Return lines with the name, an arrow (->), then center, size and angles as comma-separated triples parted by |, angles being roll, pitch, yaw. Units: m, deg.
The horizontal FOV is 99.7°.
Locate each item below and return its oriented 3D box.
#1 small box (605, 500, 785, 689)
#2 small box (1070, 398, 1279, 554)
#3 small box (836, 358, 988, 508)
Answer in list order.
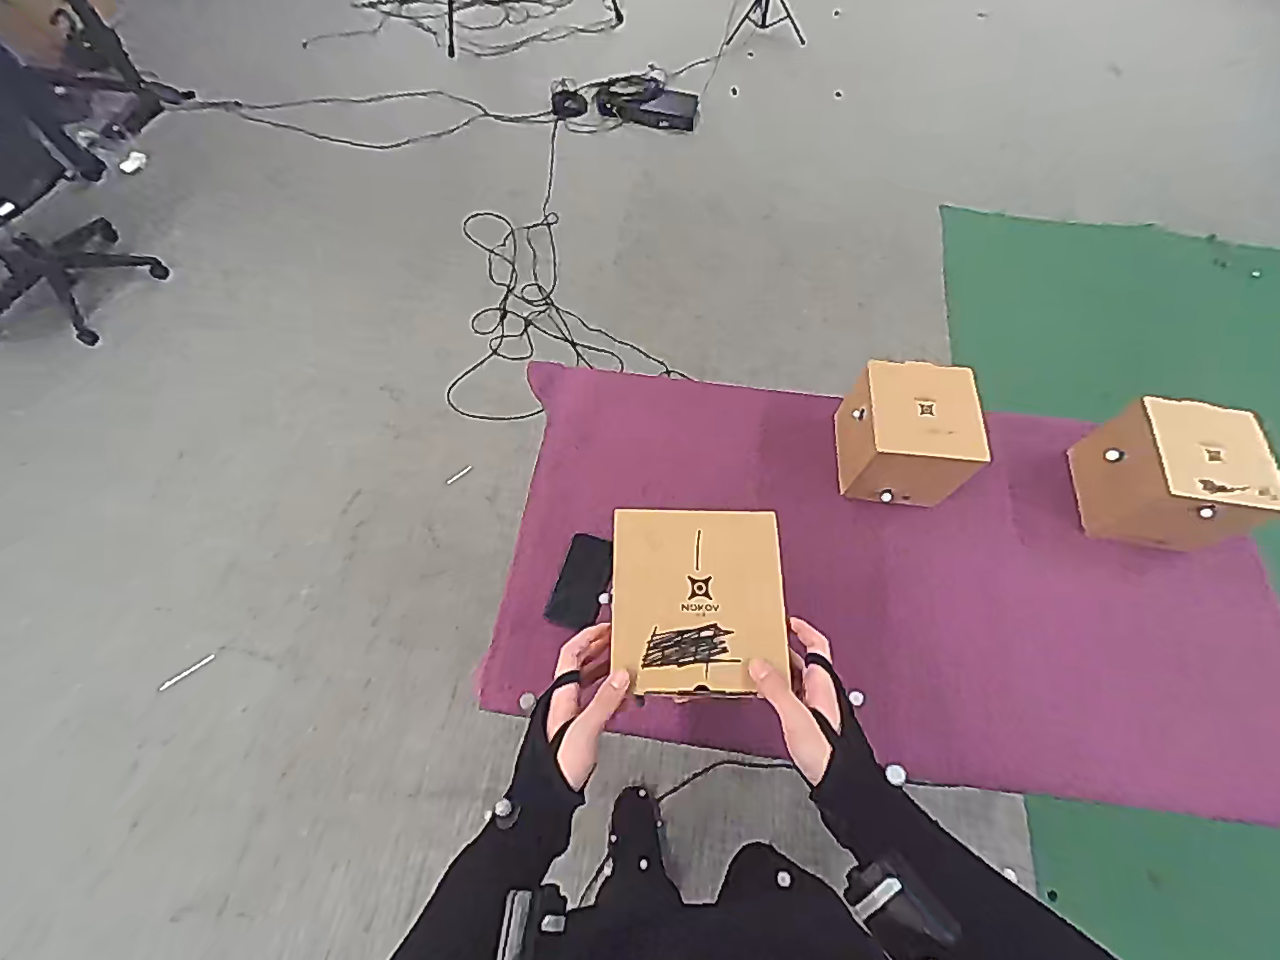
small box -> 0.050, 0.132, 0.588 | 0.168, 0.176, 0.179 | 2, 68, -2
small box -> 0.838, -0.003, 0.865 | 0.168, 0.176, 0.179 | 9, 62, 5
small box -> 0.434, -0.074, 0.895 | 0.168, 0.176, 0.179 | 6, 63, 3
